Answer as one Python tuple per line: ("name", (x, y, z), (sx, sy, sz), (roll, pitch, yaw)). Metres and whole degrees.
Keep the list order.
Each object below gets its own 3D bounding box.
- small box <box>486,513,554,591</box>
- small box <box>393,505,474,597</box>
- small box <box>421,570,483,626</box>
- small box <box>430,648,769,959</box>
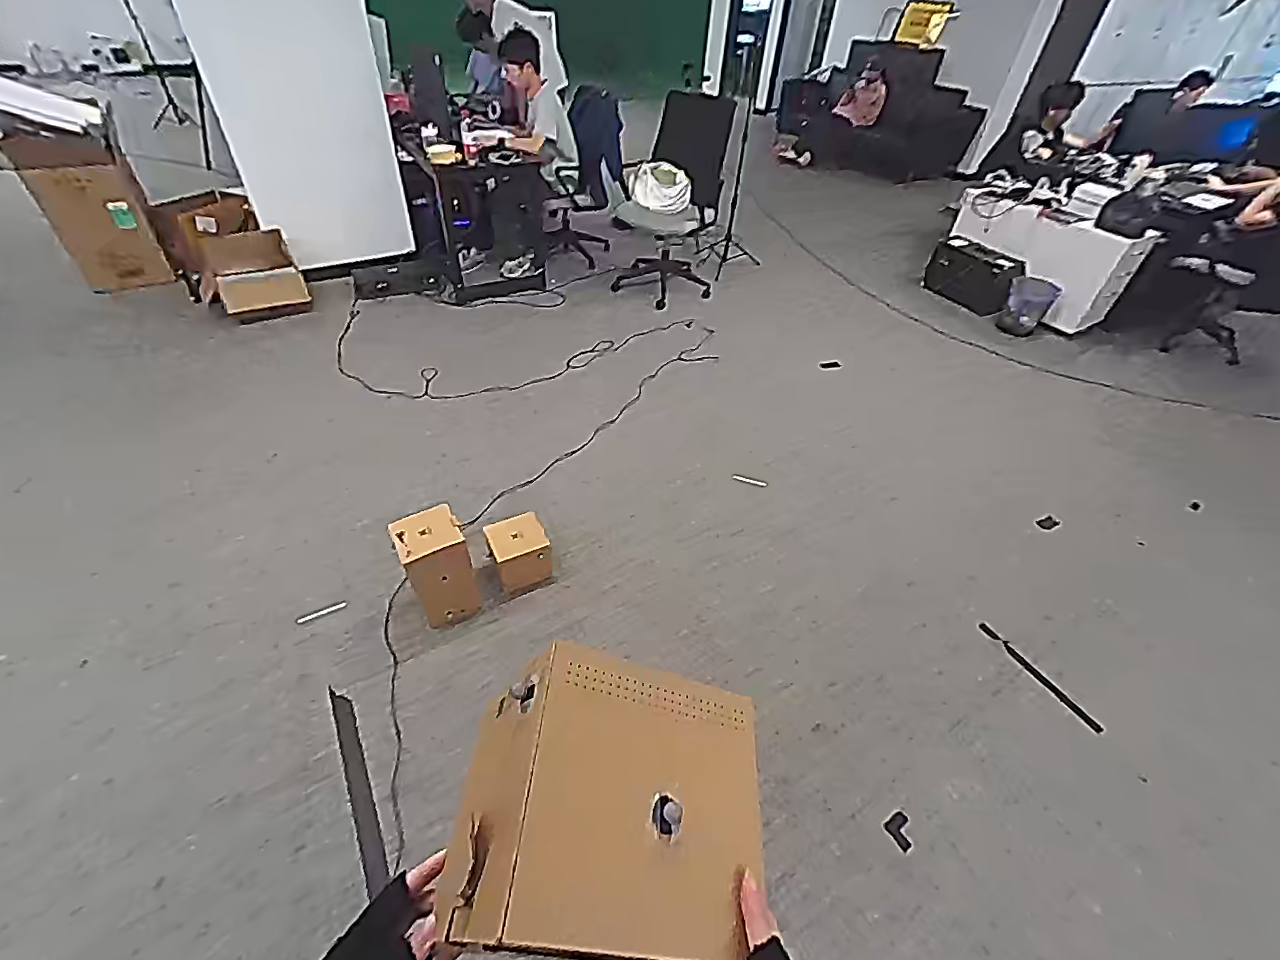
("small box", (-0.396, 0.243, 1.805), (0.179, 0.176, 0.168), (-18, 47, -23))
("small box", (-0.598, 0.208, 1.582), (0.179, 0.176, 0.168), (-21, 48, -24))
("small box", (-0.608, 0.323, 1.698), (0.168, 0.176, 0.179), (-20, 49, -23))
("small box", (-0.029, 0.246, 0.409), (0.179, 0.168, 0.176), (23, 45, -19))
